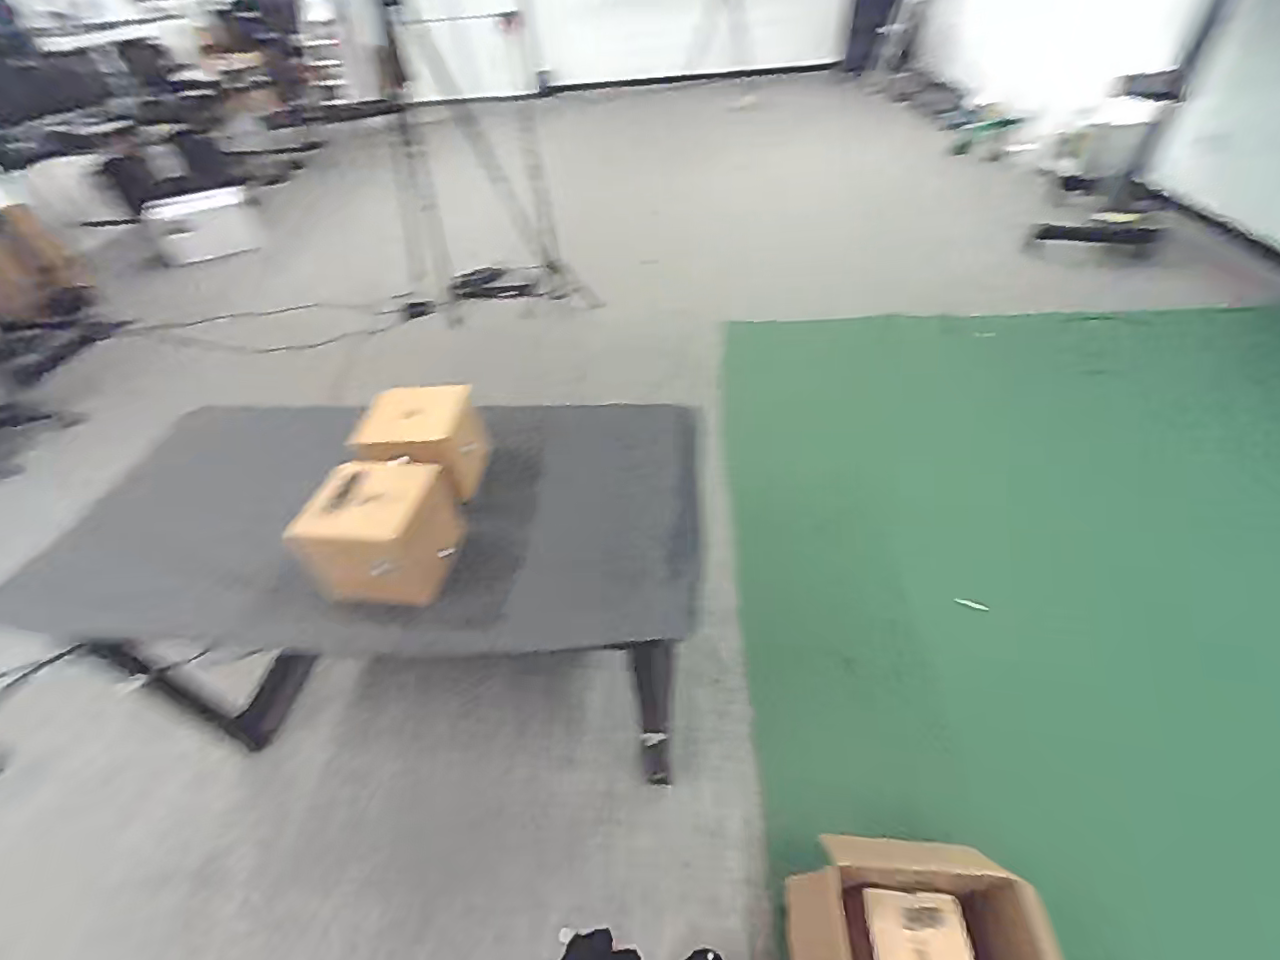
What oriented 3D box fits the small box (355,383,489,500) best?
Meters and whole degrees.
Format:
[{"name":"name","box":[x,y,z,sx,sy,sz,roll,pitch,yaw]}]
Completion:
[{"name":"small box","box":[-0.416,-0.074,1.074,0.179,0.176,0.168,-2,45,5]}]
